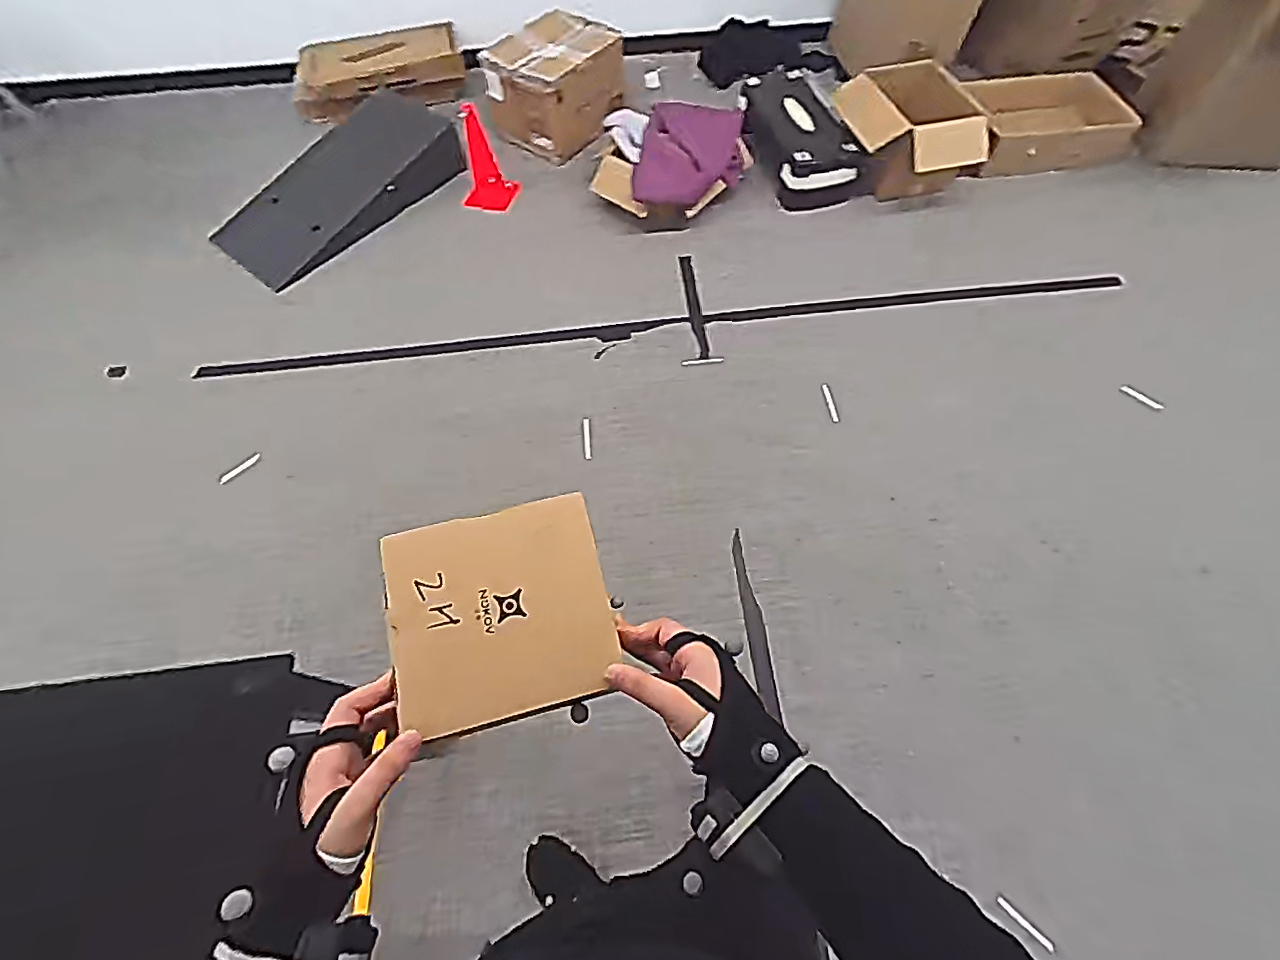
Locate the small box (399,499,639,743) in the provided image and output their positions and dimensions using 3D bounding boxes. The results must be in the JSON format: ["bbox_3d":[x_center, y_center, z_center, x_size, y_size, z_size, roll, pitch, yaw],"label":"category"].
[{"bbox_3d":[-0.106,0.137,0.516,0.179,0.176,0.168,-13,68,-7],"label":"small box"}]
